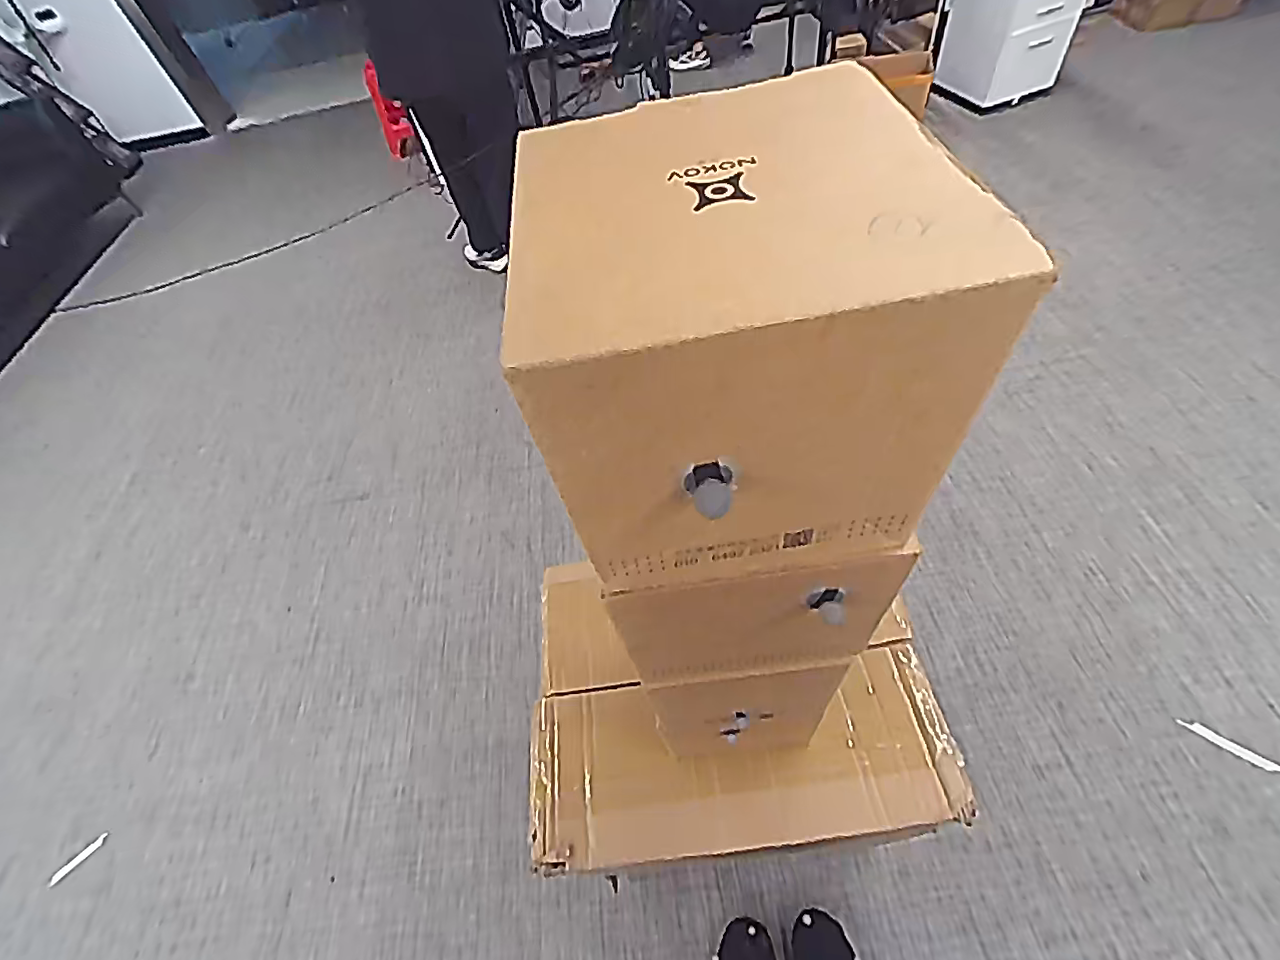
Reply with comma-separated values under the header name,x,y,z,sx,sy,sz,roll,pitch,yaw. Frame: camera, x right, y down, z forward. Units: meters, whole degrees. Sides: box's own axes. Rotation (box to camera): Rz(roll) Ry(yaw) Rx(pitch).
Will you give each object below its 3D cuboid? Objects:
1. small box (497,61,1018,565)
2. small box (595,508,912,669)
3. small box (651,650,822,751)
name,x,y,z,sx,sy,sz,roll,pitch,yaw
small box,0.038,-0.070,0.277,0.168,0.176,0.179,-10,53,3
small box,0.066,0.028,0.404,0.179,0.176,0.168,-9,53,4
small box,0.109,0.224,0.665,0.179,0.176,0.168,-8,53,4
